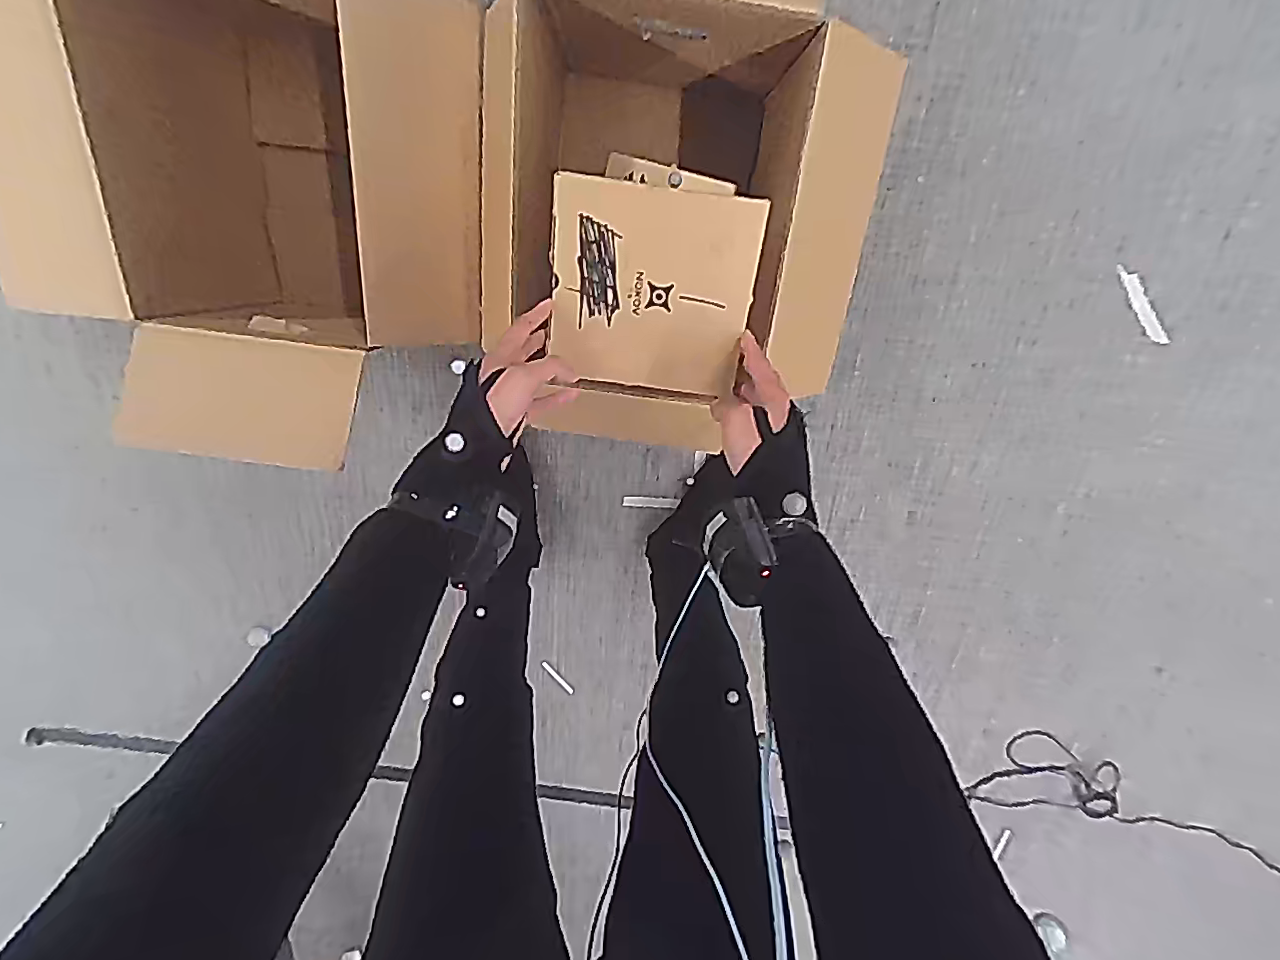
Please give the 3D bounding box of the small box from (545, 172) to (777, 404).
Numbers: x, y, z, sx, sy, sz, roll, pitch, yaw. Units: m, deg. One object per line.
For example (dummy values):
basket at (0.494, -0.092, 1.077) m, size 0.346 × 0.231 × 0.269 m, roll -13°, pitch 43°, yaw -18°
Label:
small box at (0.015, -0.188, 0.525) m, size 0.179 × 0.176 × 0.168 m, roll 8°, pitch 117°, yaw 0°
